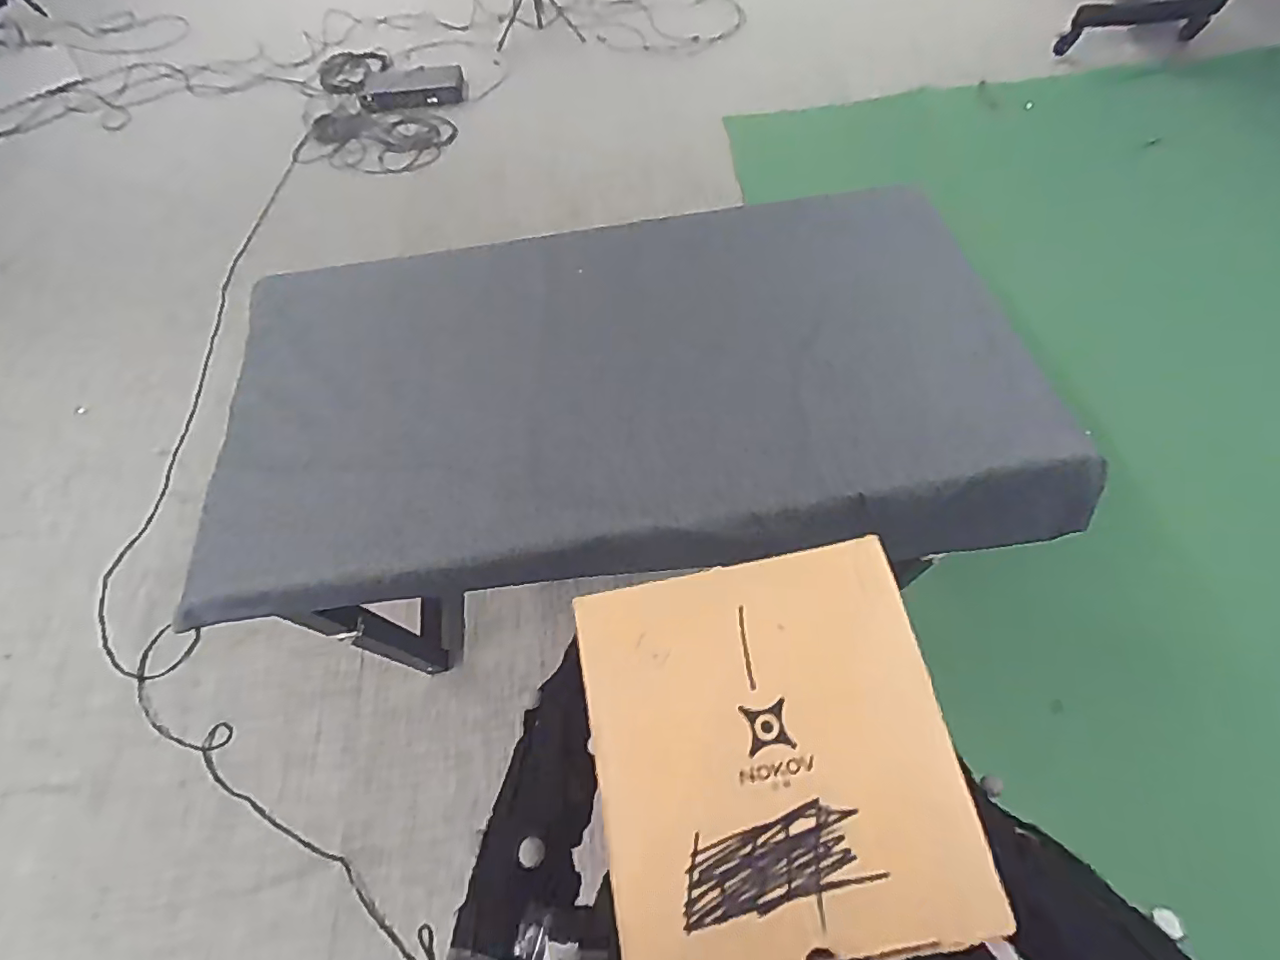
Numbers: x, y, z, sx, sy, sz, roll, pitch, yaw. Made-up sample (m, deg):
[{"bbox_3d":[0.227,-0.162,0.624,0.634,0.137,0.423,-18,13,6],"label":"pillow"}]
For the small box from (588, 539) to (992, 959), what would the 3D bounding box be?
[{"bbox_3d":[0.071,0.151,0.343,0.168,0.176,0.179,-10,70,1],"label":"small box"}]
